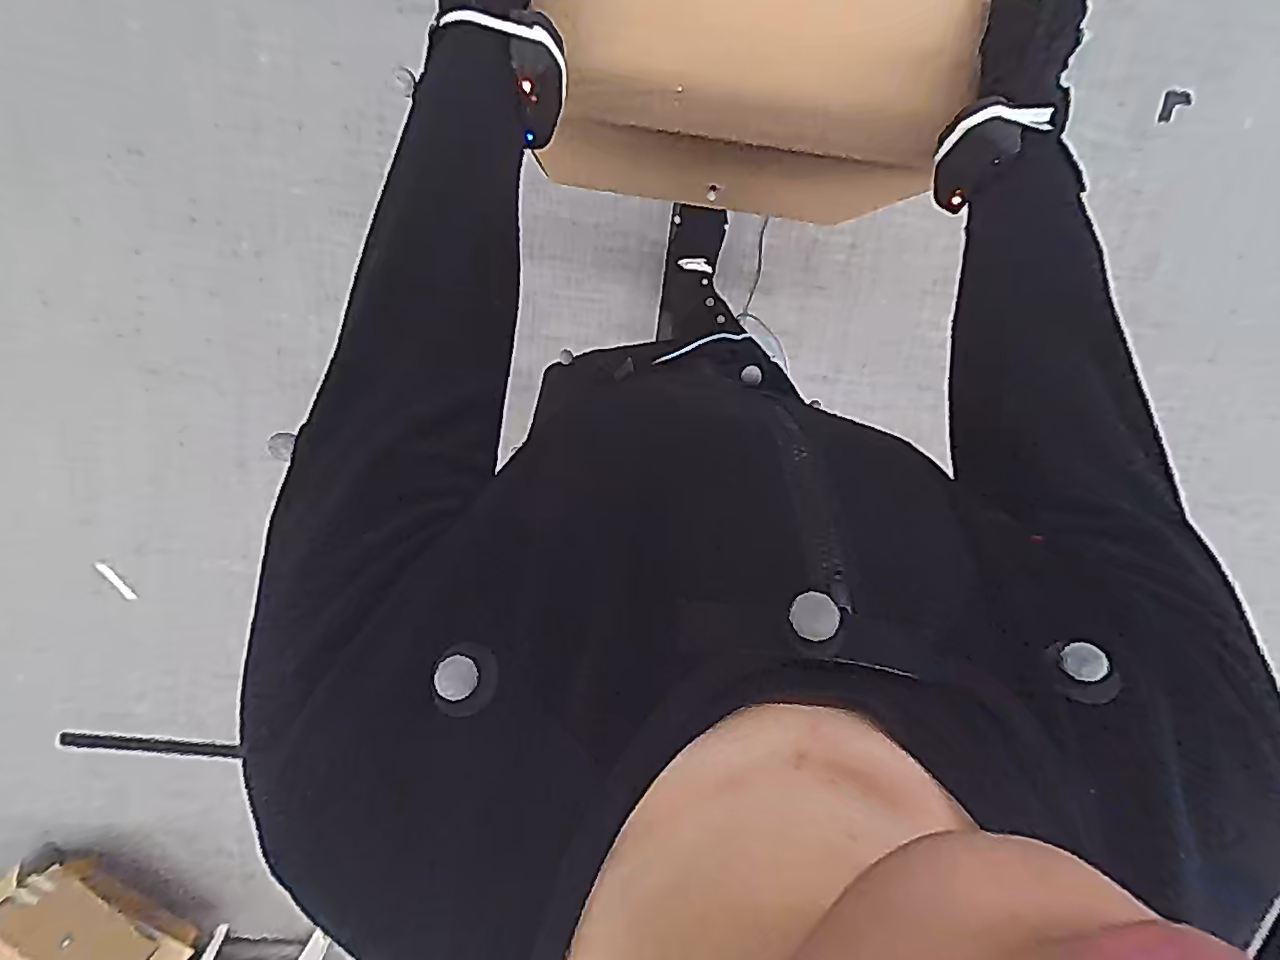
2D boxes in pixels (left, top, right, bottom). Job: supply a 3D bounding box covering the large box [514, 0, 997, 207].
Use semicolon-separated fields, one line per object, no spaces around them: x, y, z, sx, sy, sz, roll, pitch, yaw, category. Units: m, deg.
0.103;-0.497;0.569;0.408;0.320;0.320;6;107;-4;large box
